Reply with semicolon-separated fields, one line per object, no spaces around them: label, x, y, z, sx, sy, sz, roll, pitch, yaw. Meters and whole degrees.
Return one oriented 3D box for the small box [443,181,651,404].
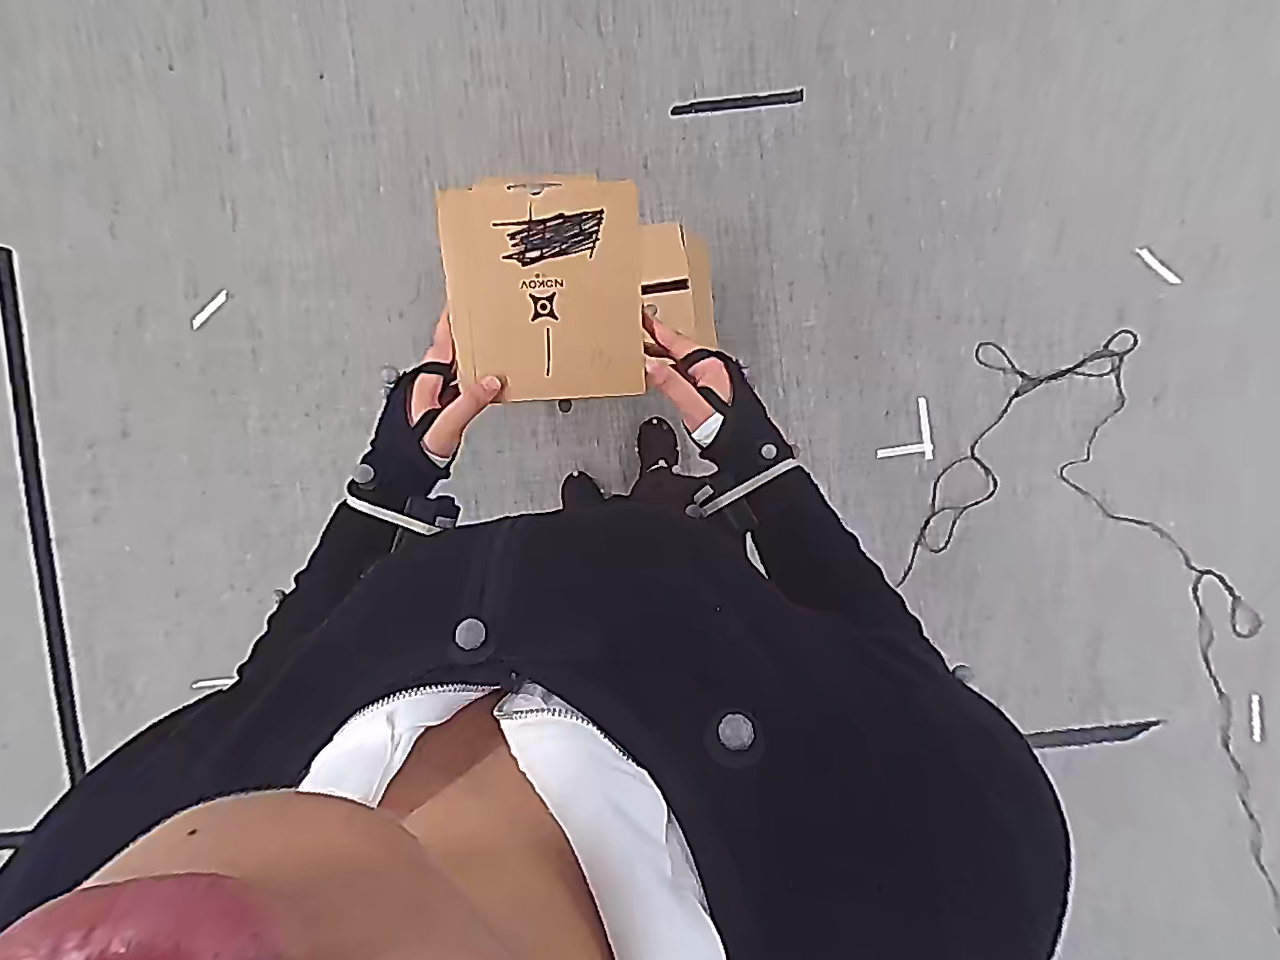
small box;-0.077;-0.167;0.529;0.168;0.176;0.179;-3;101;0
